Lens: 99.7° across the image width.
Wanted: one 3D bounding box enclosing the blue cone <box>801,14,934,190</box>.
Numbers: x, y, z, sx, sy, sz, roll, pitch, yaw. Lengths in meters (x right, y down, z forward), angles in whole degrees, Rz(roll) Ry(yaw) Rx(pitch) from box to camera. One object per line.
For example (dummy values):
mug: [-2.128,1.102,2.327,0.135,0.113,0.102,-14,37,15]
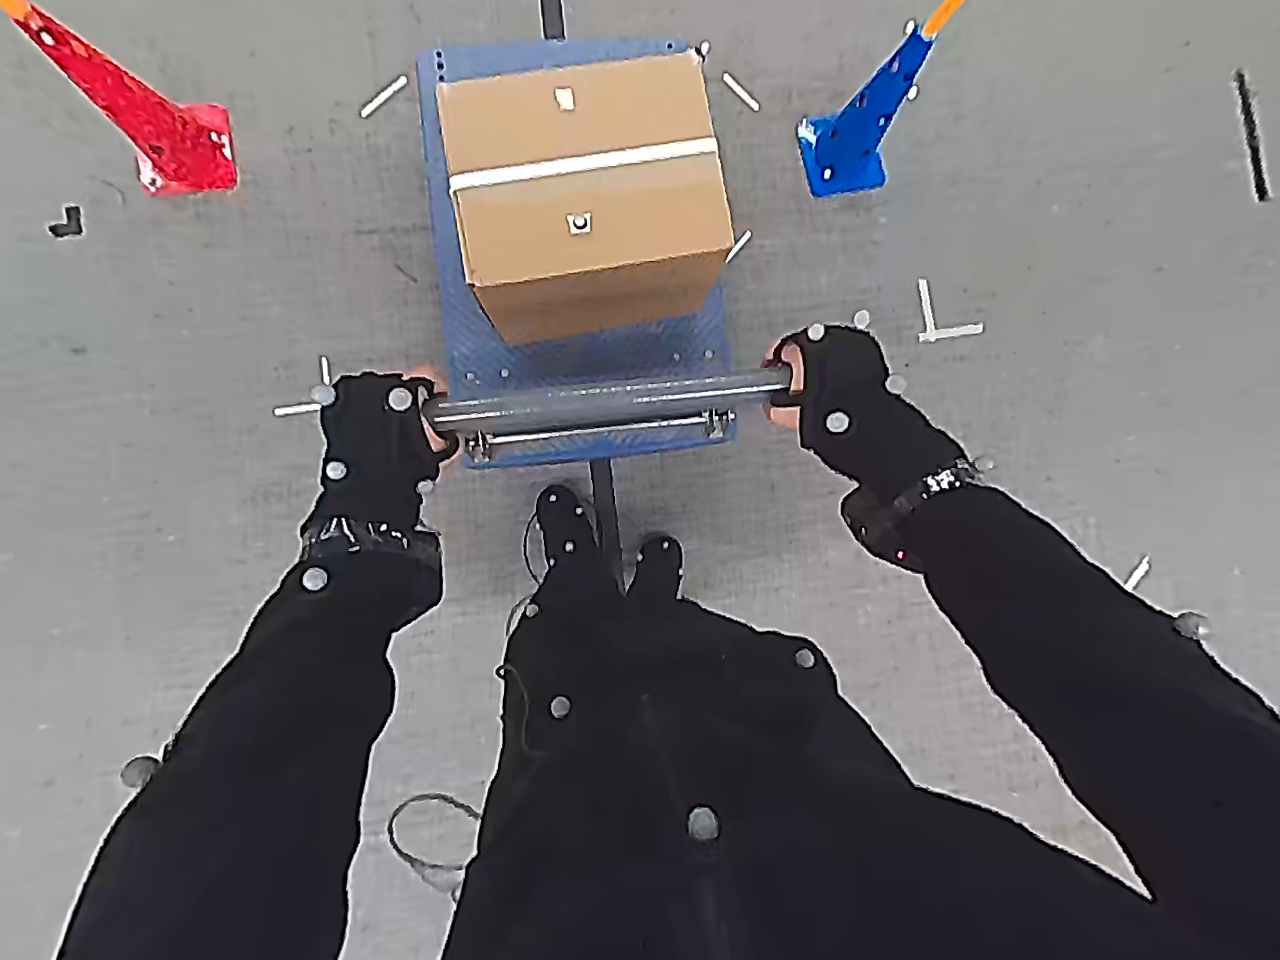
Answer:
blue cone: [0.522,-0.833,1.192,0.193,0.380,0.192,-11,88,-5]
